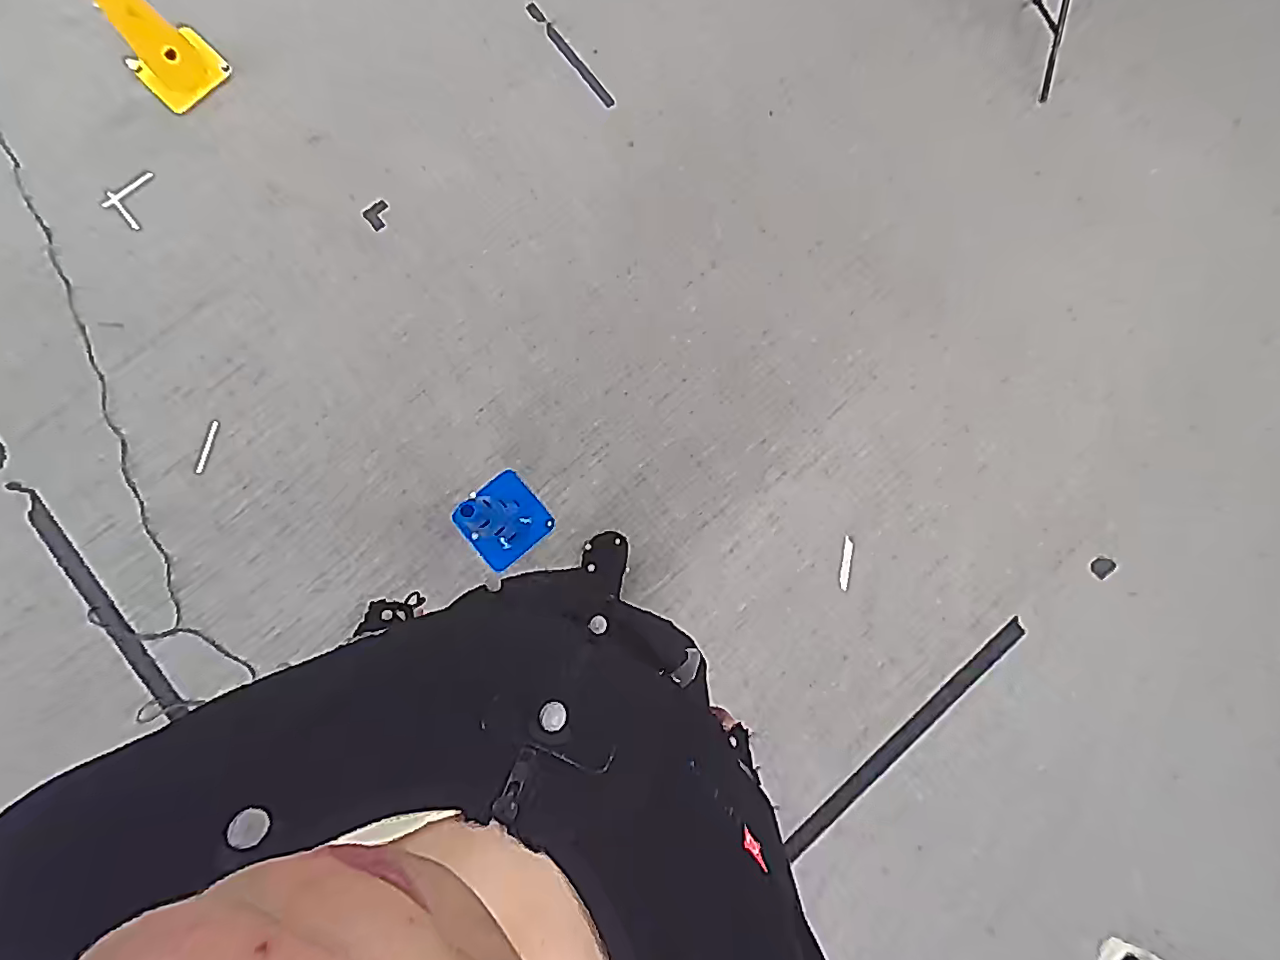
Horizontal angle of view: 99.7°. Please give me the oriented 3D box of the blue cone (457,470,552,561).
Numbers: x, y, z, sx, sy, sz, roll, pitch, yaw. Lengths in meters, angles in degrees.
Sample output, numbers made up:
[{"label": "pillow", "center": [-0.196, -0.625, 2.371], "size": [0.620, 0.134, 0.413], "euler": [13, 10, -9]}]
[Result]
[{"label": "blue cone", "center": [-0.336, 0.067, 1.209], "size": [0.192, 0.380, 0.193], "euler": [-38, 86, -7]}]
